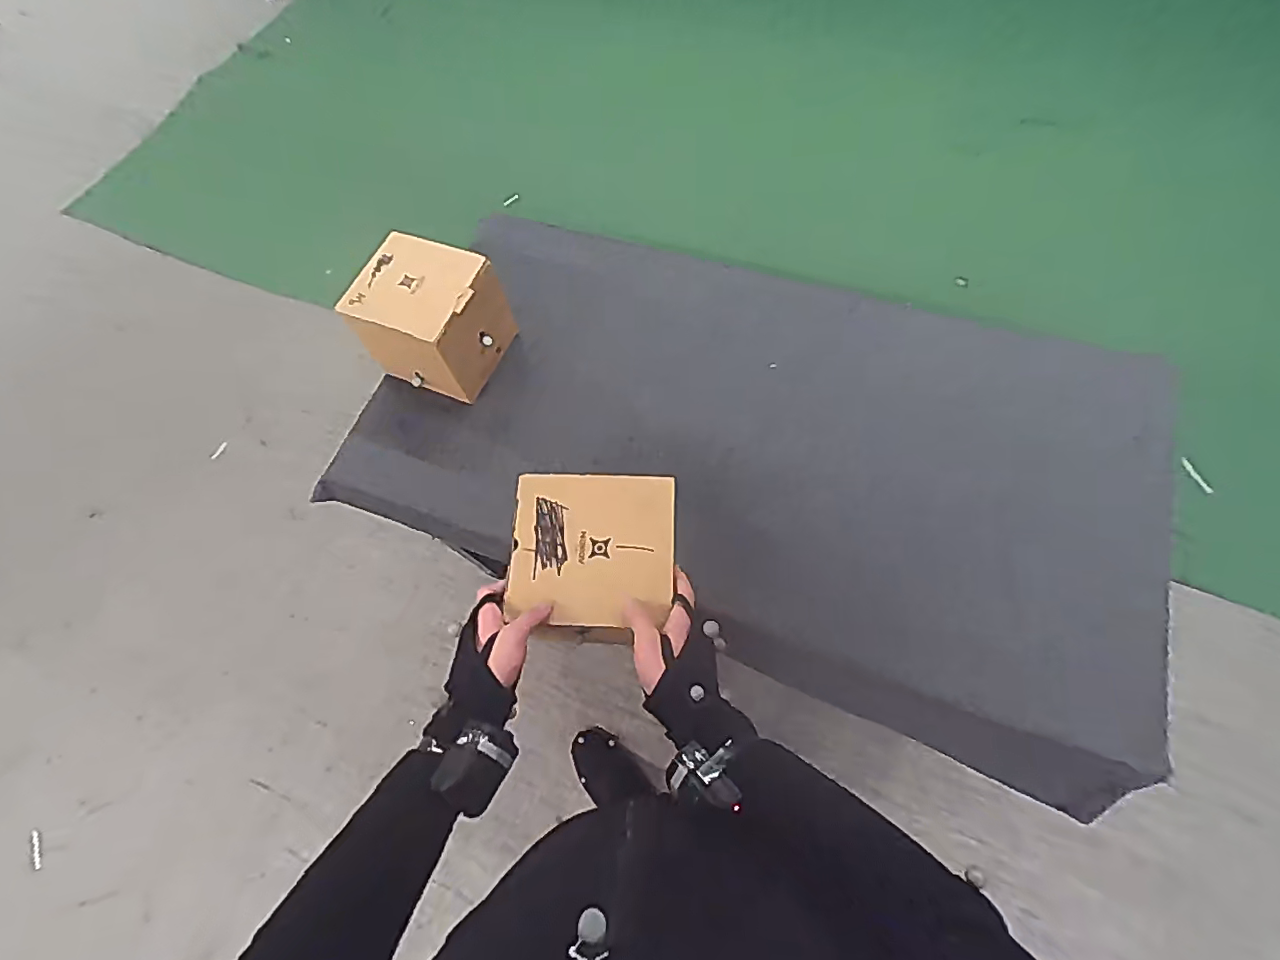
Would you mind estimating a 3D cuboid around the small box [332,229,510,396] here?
[{"bbox_3d":[-0.333,-0.258,0.866,0.179,0.176,0.168,21,70,11],"label":"small box"}]

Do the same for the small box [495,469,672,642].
[{"bbox_3d":[-0.053,0.096,0.639,0.179,0.176,0.168,2,68,2],"label":"small box"}]
